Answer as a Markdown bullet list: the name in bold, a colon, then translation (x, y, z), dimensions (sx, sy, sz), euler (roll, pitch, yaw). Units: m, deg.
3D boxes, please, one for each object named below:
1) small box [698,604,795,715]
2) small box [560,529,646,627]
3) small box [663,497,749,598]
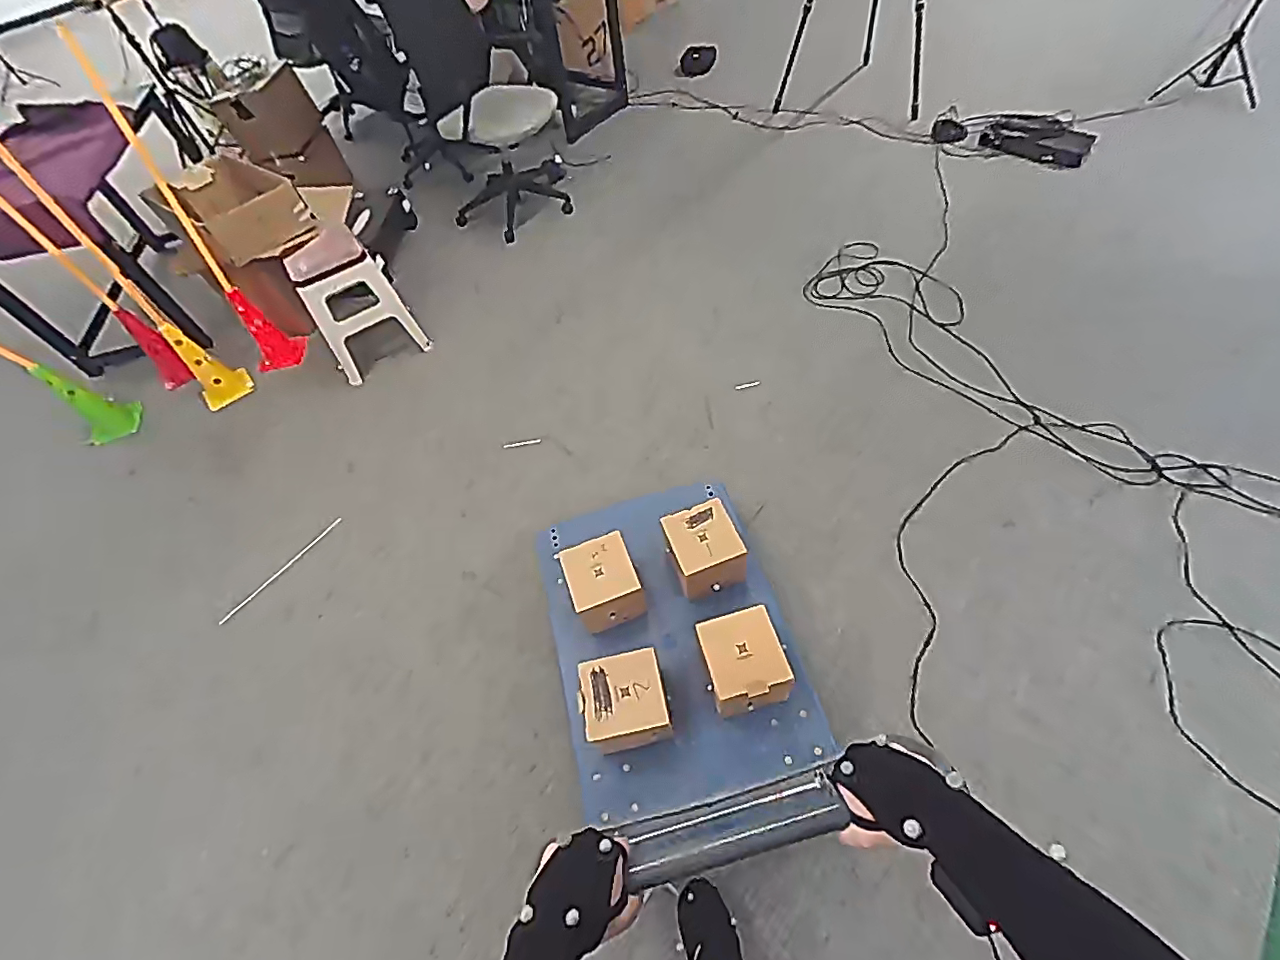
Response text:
- **small box**: translation (0.235, 0.414, 1.238), dimensions (0.168, 0.176, 0.179), euler (-15, 55, -3)
- **small box**: translation (-0.090, 0.260, 1.387), dimensions (0.168, 0.176, 0.179), euler (-19, 56, -6)
- **small box**: translation (0.168, 0.179, 1.408), dimensions (0.168, 0.176, 0.179), euler (-20, 56, -5)
